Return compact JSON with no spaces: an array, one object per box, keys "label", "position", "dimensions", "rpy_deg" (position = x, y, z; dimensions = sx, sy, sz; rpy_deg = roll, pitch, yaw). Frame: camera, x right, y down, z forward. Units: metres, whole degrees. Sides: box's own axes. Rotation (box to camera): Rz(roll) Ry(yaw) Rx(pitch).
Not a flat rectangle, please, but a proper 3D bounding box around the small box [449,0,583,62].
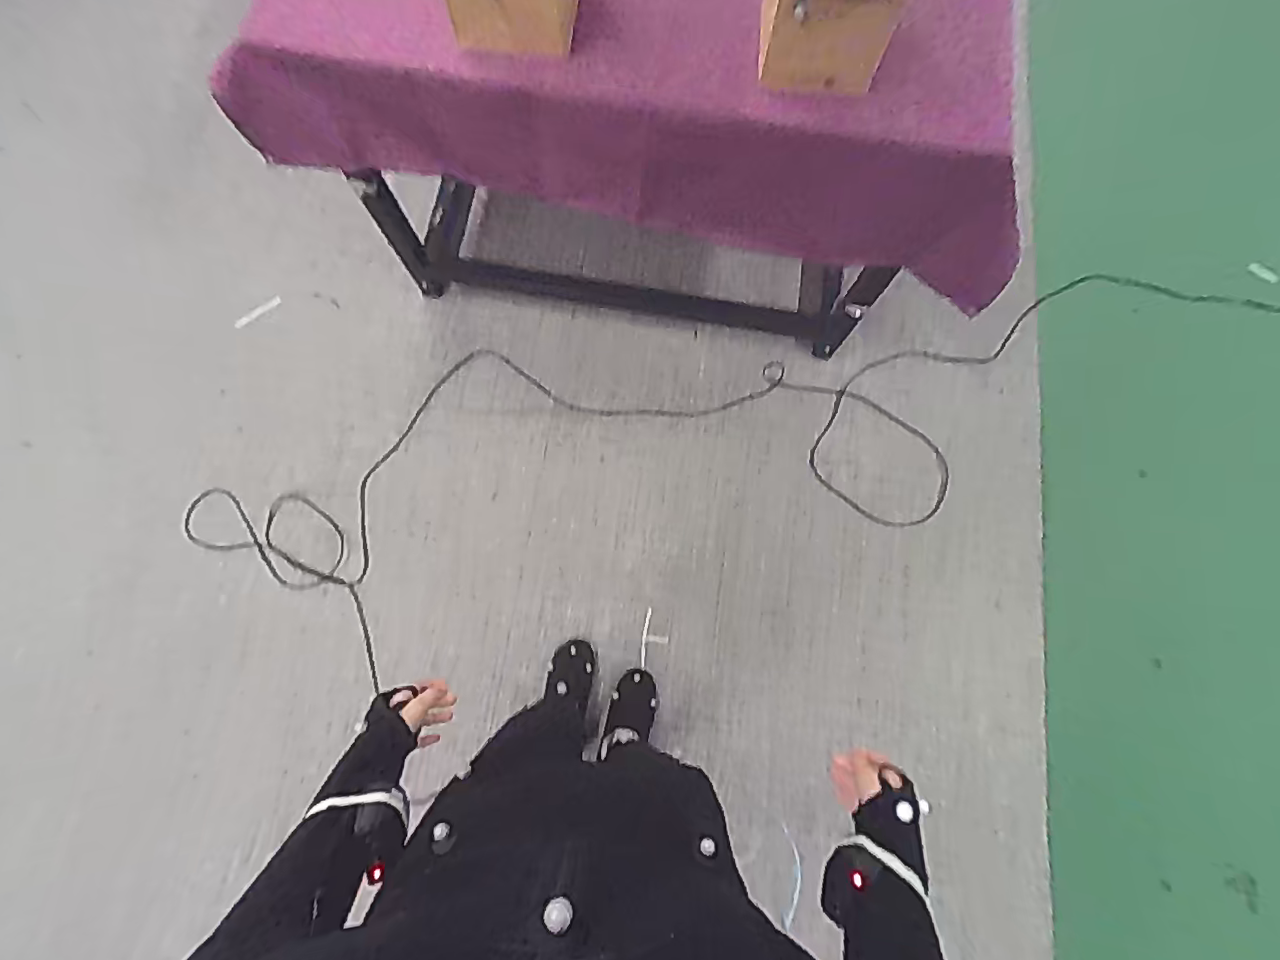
[{"label":"small box","position":[-0.186,-0.757,0.790],"dimensions":[0.179,0.176,0.168],"rpy_deg":[6,76,1]}]
